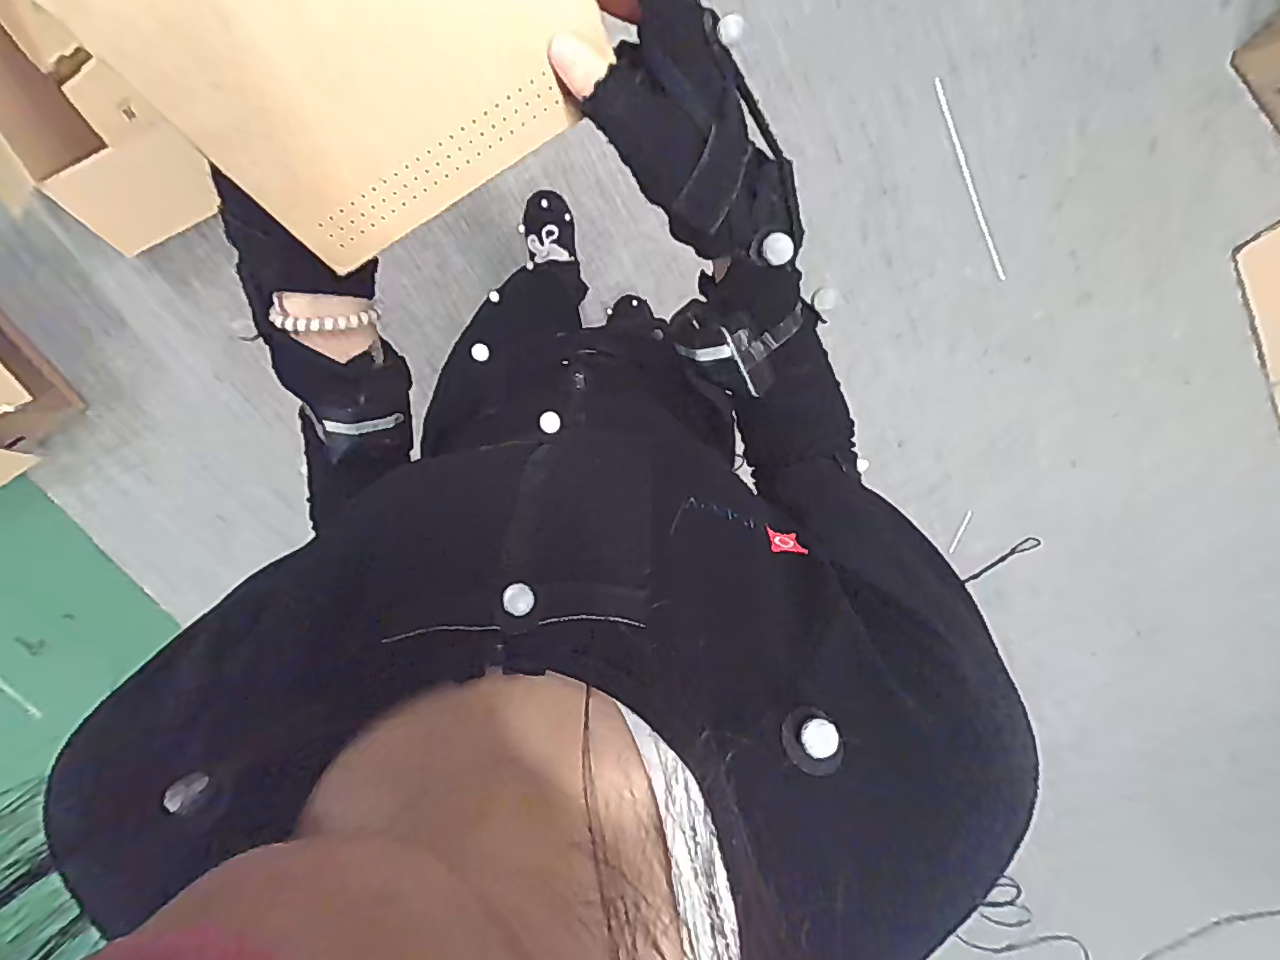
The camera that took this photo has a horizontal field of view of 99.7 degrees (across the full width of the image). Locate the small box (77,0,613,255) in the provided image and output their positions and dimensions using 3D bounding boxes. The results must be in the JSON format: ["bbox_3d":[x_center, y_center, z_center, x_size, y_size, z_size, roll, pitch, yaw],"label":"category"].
[{"bbox_3d":[-0.139,-0.247,0.252,0.179,0.168,0.176,-29,151,6],"label":"small box"}]
